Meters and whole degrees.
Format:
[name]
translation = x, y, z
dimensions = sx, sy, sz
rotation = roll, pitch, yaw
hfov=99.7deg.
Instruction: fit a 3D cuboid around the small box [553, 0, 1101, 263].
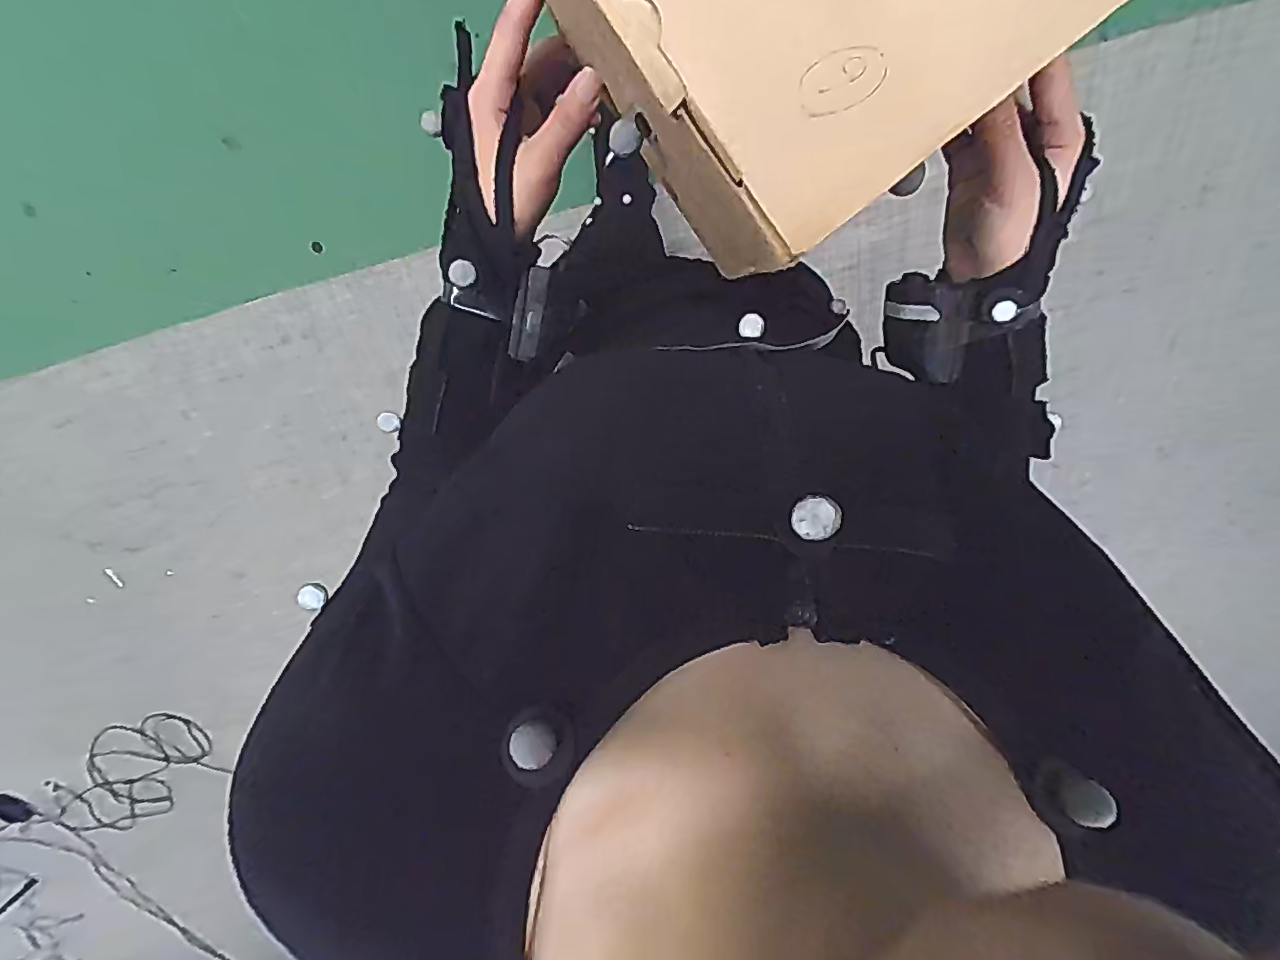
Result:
[small box]
translation = 0.066, -0.208, 0.215
dimensions = 0.179, 0.176, 0.168
rotation = -36, 104, 14
